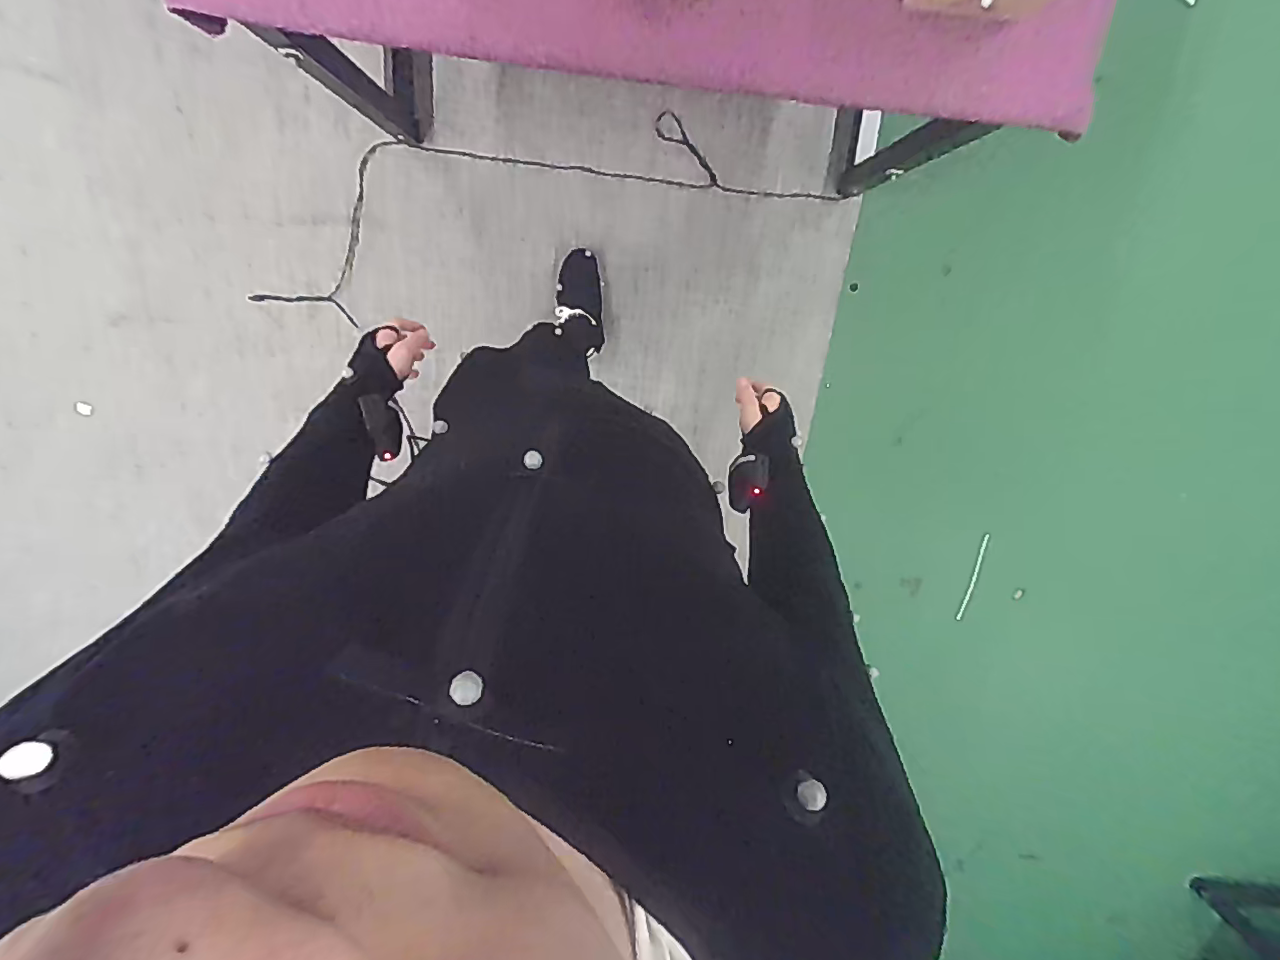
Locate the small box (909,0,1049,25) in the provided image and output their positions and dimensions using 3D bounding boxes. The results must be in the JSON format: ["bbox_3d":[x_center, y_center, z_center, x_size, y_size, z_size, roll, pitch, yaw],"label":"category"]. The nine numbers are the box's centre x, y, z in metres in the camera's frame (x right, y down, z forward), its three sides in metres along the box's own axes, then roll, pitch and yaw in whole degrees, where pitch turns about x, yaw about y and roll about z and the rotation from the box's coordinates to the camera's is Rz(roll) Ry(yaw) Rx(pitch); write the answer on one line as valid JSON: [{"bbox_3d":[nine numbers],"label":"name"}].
[{"bbox_3d":[0.427,-0.663,0.603,0.168,0.176,0.179,4,106,-3],"label":"small box"}]
